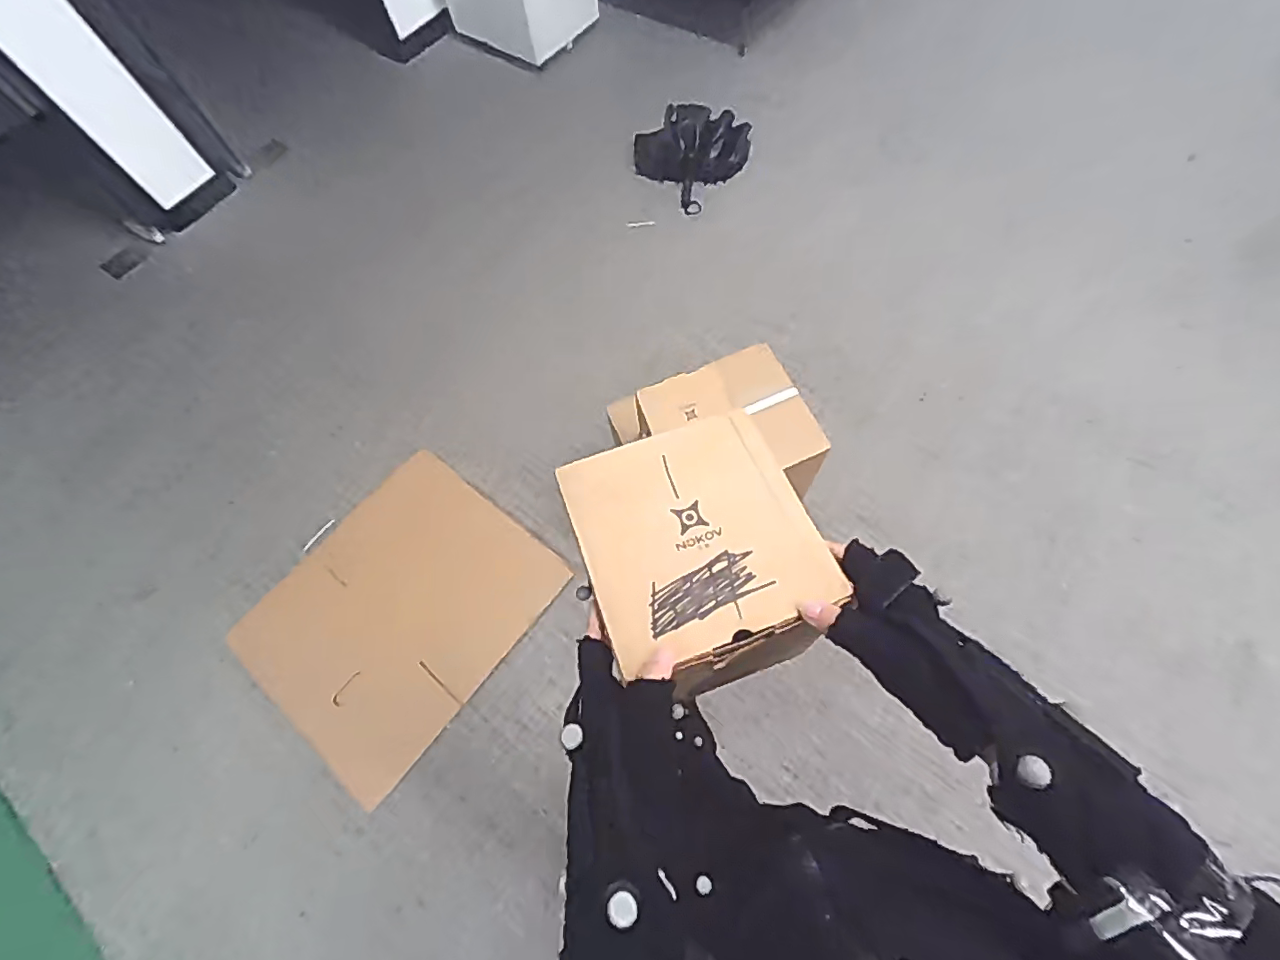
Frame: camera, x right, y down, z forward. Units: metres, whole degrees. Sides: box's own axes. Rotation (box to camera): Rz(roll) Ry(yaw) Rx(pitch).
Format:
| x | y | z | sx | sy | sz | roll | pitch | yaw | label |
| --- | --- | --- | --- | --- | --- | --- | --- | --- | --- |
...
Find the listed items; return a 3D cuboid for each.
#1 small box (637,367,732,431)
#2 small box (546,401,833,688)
| x | y | z | sx | sy | sz | roll | pitch | yaw | label |
| --- | --- | --- | --- | --- | --- | --- | --- | --- | --- |
| 0.100 | -0.092 | 1.091 | 0.168 | 0.176 | 0.179 | -20 | 68 | -3 | small box |
| 0.036 | 0.068 | 0.475 | 0.168 | 0.176 | 0.179 | -21 | 63 | -8 | small box |
